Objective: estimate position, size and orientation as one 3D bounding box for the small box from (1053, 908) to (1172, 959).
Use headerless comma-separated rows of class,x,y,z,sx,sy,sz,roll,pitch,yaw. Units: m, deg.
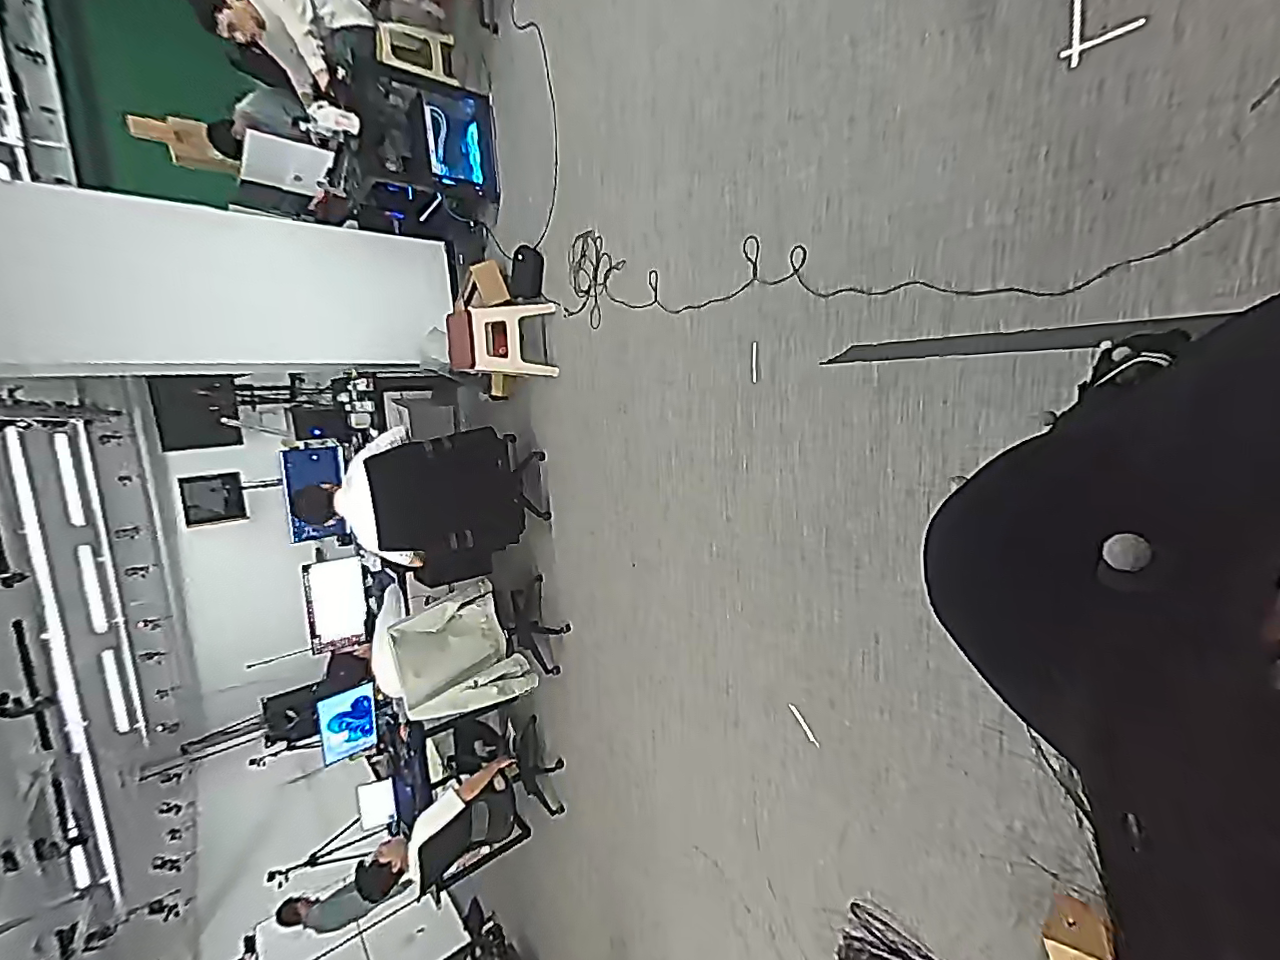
small box,1.103,1.142,1.247,0.179,0.176,0.168,-21,81,51
